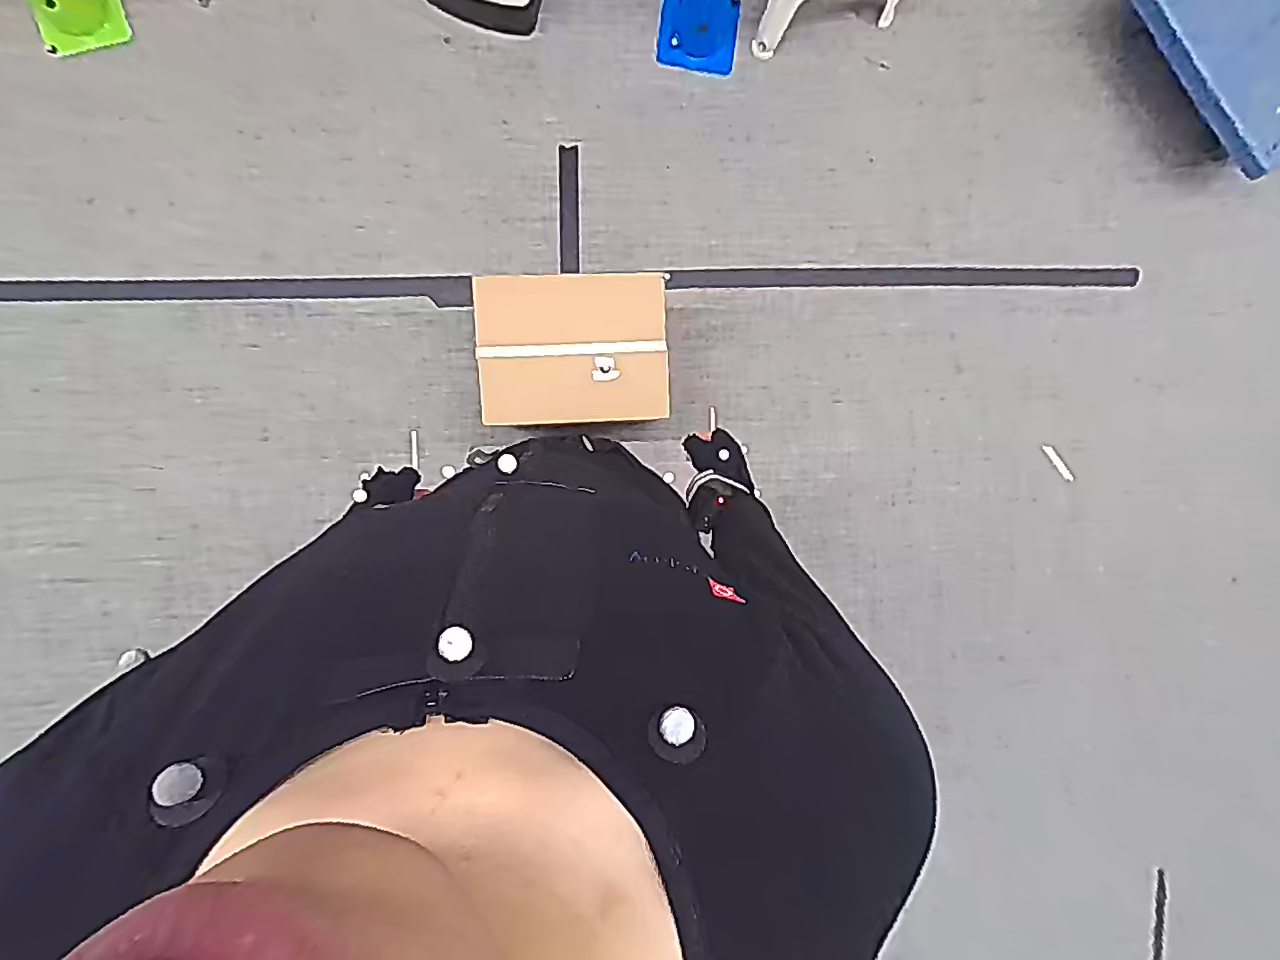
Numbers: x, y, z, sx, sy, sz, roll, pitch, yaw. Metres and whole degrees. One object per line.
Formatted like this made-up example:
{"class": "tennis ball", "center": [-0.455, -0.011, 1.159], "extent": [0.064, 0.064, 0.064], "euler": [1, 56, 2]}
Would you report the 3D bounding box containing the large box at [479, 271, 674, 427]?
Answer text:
{"class": "large box", "center": [-0.146, -0.295, 1.301], "extent": [0.408, 0.320, 0.320], "euler": [-3, 96, -5]}
